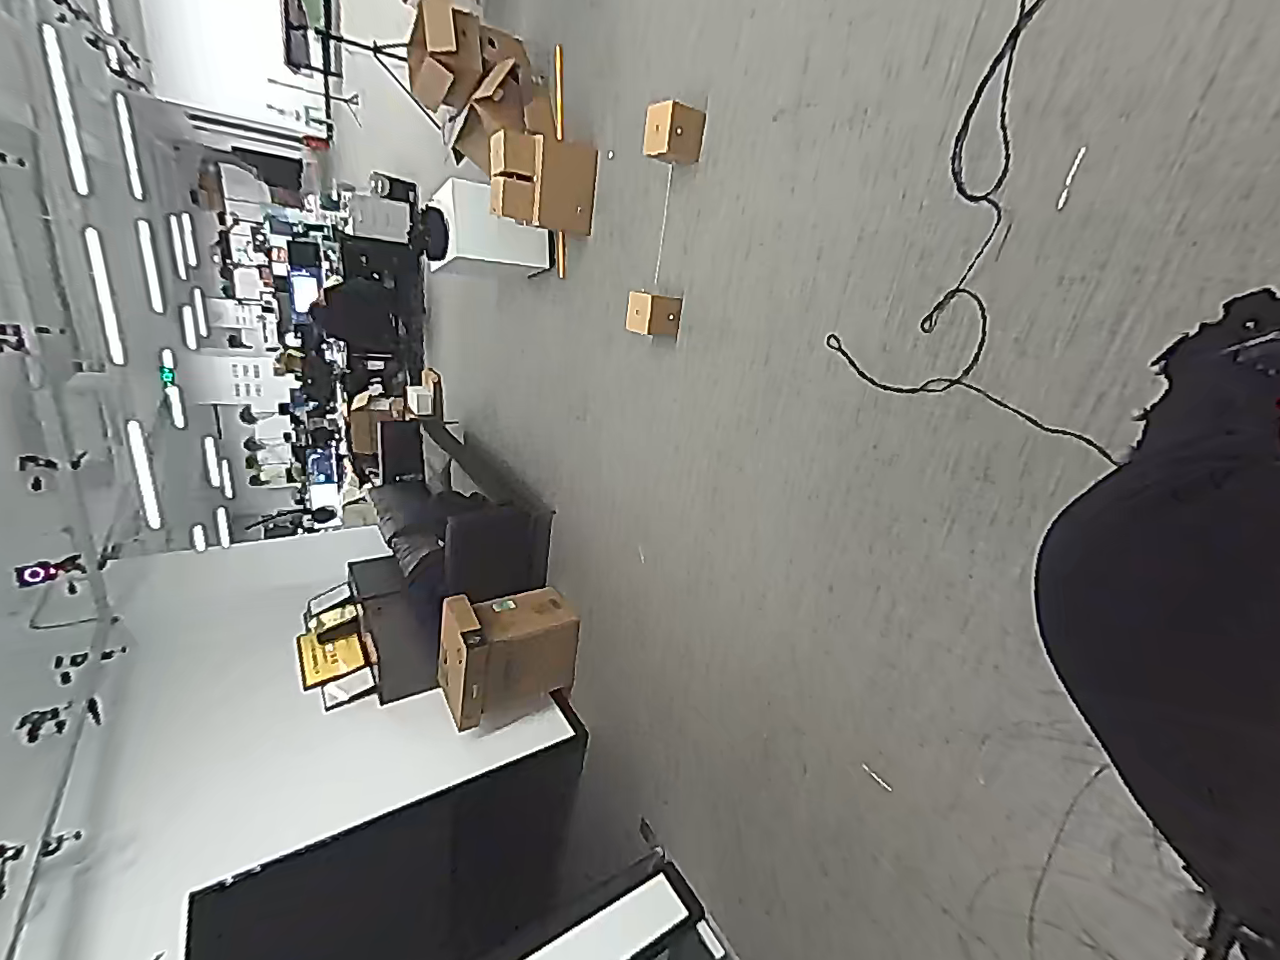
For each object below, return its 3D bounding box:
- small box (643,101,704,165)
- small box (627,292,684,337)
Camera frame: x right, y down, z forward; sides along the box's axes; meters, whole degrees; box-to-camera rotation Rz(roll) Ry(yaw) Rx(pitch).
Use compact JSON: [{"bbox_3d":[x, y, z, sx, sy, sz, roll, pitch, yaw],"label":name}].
[{"bbox_3d":[0.136,-1.367,2.140,0.168,0.176,0.179,32,123,48],"label":"small box"},{"bbox_3d":[0.067,-0.726,2.373,0.179,0.176,0.168,33,123,49],"label":"small box"}]
